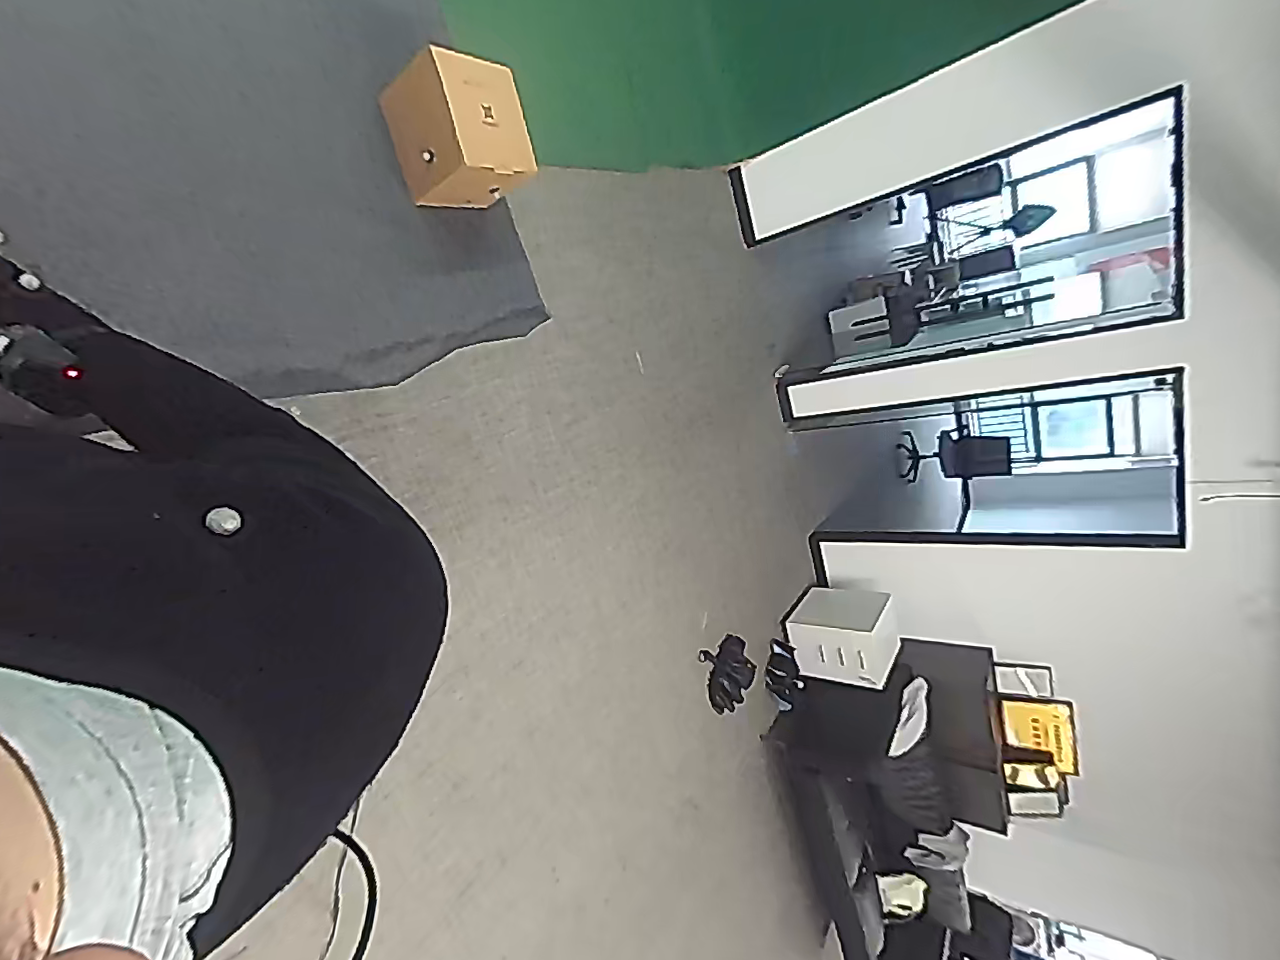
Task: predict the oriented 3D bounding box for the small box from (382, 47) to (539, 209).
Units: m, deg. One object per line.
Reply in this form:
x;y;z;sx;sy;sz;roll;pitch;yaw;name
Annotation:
-0.311;-0.592;0.942;0.168;0.176;0.179;-32;109;-48;small box
